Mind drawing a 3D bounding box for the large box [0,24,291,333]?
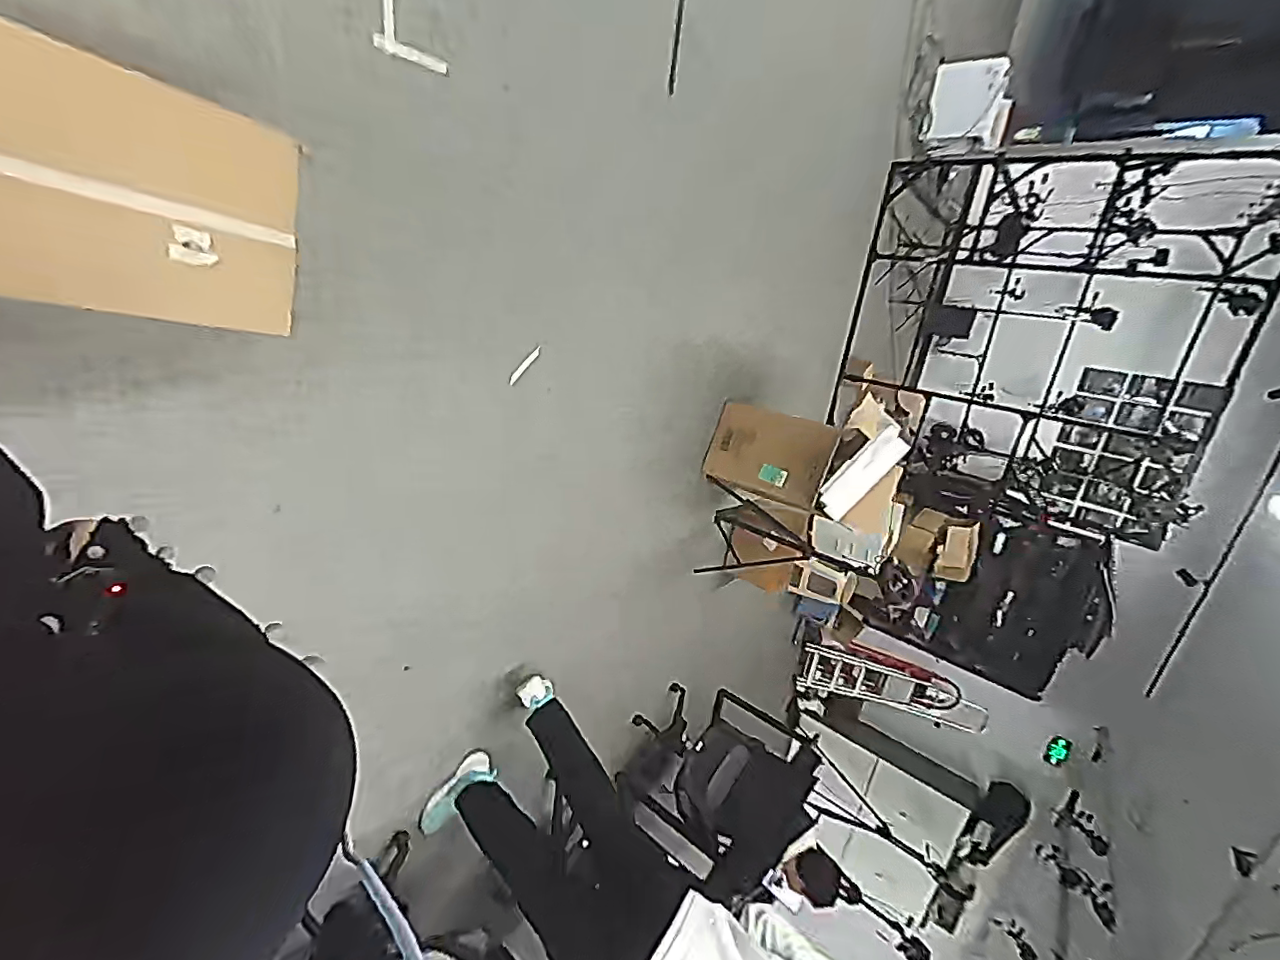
[{"bbox_3d":[-0.817,-0.421,0.812,0.408,0.320,0.320,-6,112,-55],"label":"large box"}]
